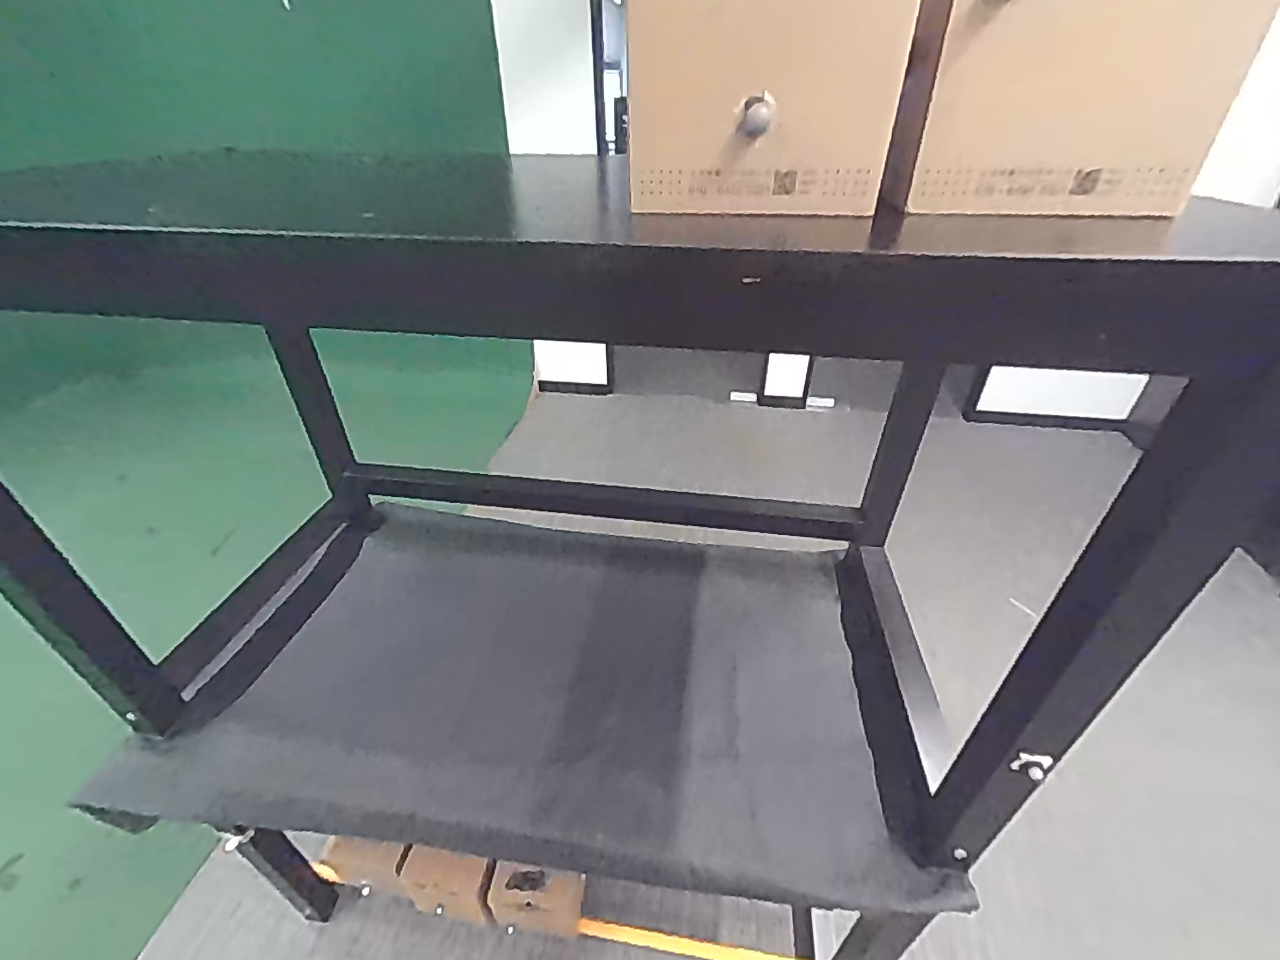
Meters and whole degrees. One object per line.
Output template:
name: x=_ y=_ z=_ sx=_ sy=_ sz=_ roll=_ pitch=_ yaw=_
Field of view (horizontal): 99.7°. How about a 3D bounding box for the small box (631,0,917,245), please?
small box: x=0.084 y=-0.283 z=0.402 sx=0.168 sy=0.176 sz=0.179 roll=3 pitch=35 yaw=6
